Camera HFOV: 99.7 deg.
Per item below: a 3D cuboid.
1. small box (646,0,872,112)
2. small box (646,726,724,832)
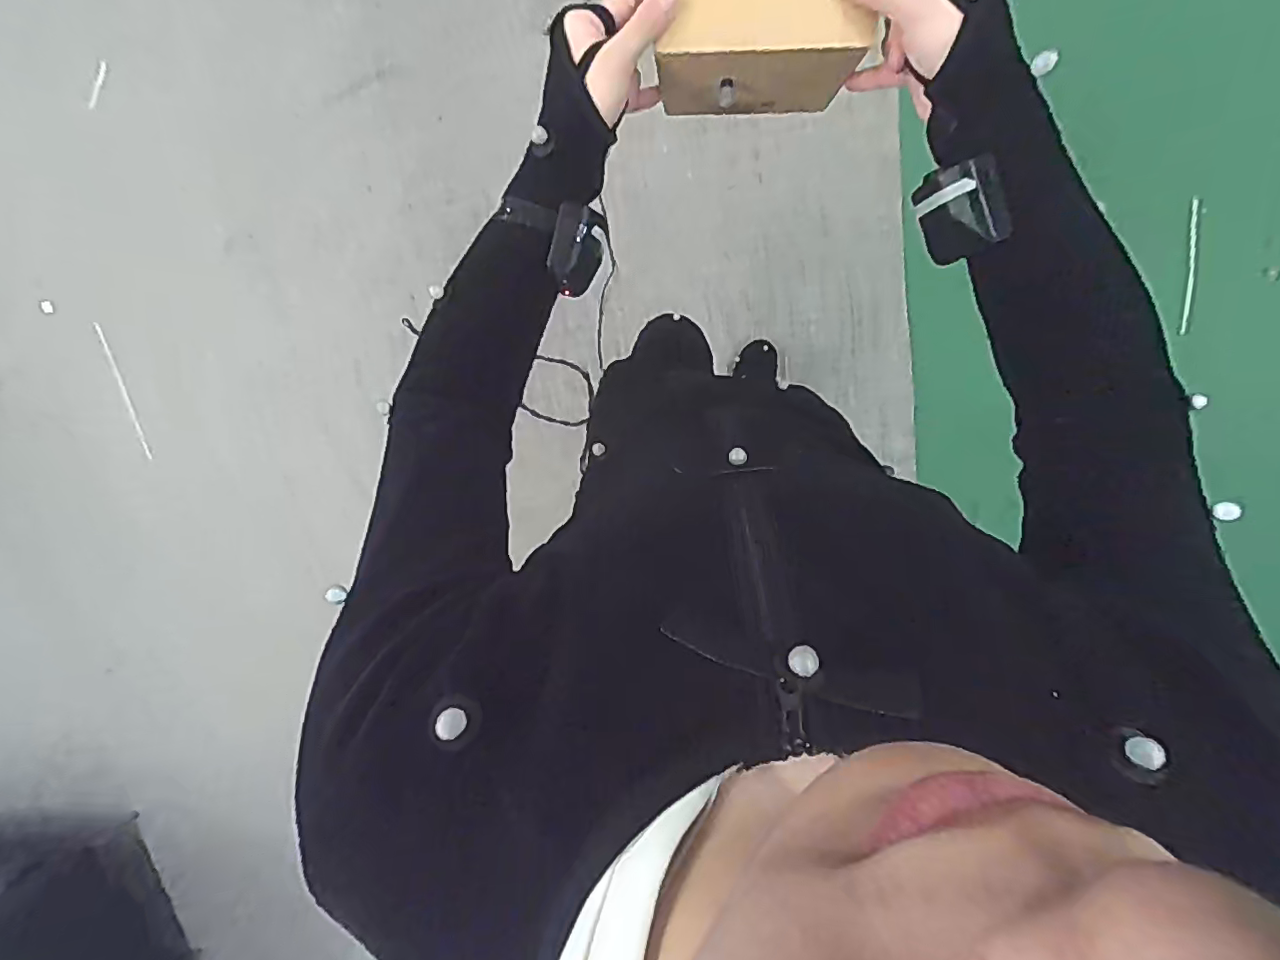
[{"bbox_3d":[0.095,-0.427,0.450,0.168,0.176,0.179,2,109,6],"label":"small box"},{"bbox_3d":[0.116,0.739,1.351,0.179,0.176,0.168,-4,104,10],"label":"small box"}]
